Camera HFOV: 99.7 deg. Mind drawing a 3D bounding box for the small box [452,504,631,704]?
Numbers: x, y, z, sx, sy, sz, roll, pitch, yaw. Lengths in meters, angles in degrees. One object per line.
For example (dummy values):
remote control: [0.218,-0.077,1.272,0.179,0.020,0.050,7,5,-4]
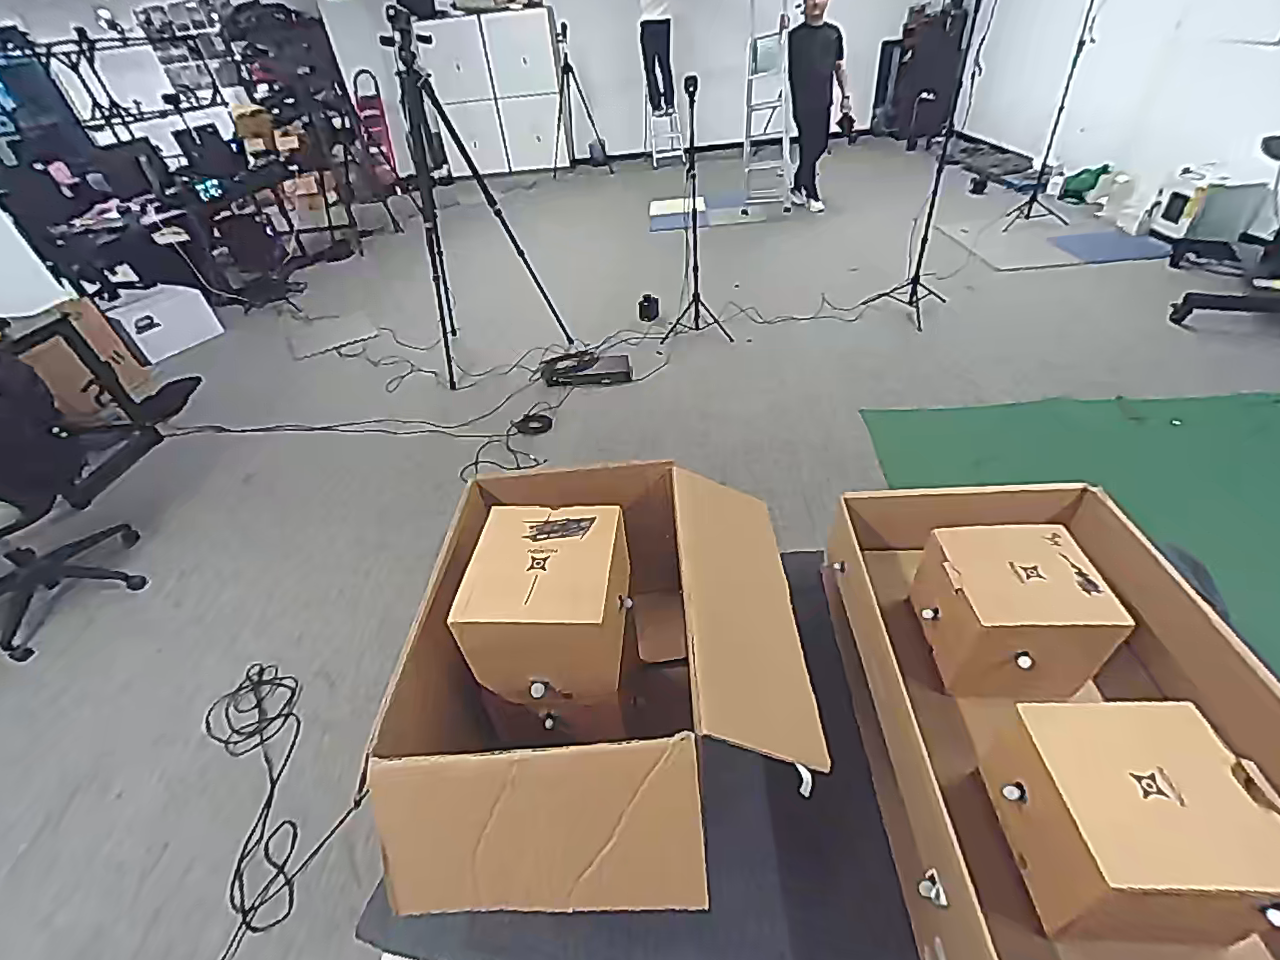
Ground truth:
small box: [-0.103,0.149,0.666,0.168,0.176,0.179,0,42,6]
